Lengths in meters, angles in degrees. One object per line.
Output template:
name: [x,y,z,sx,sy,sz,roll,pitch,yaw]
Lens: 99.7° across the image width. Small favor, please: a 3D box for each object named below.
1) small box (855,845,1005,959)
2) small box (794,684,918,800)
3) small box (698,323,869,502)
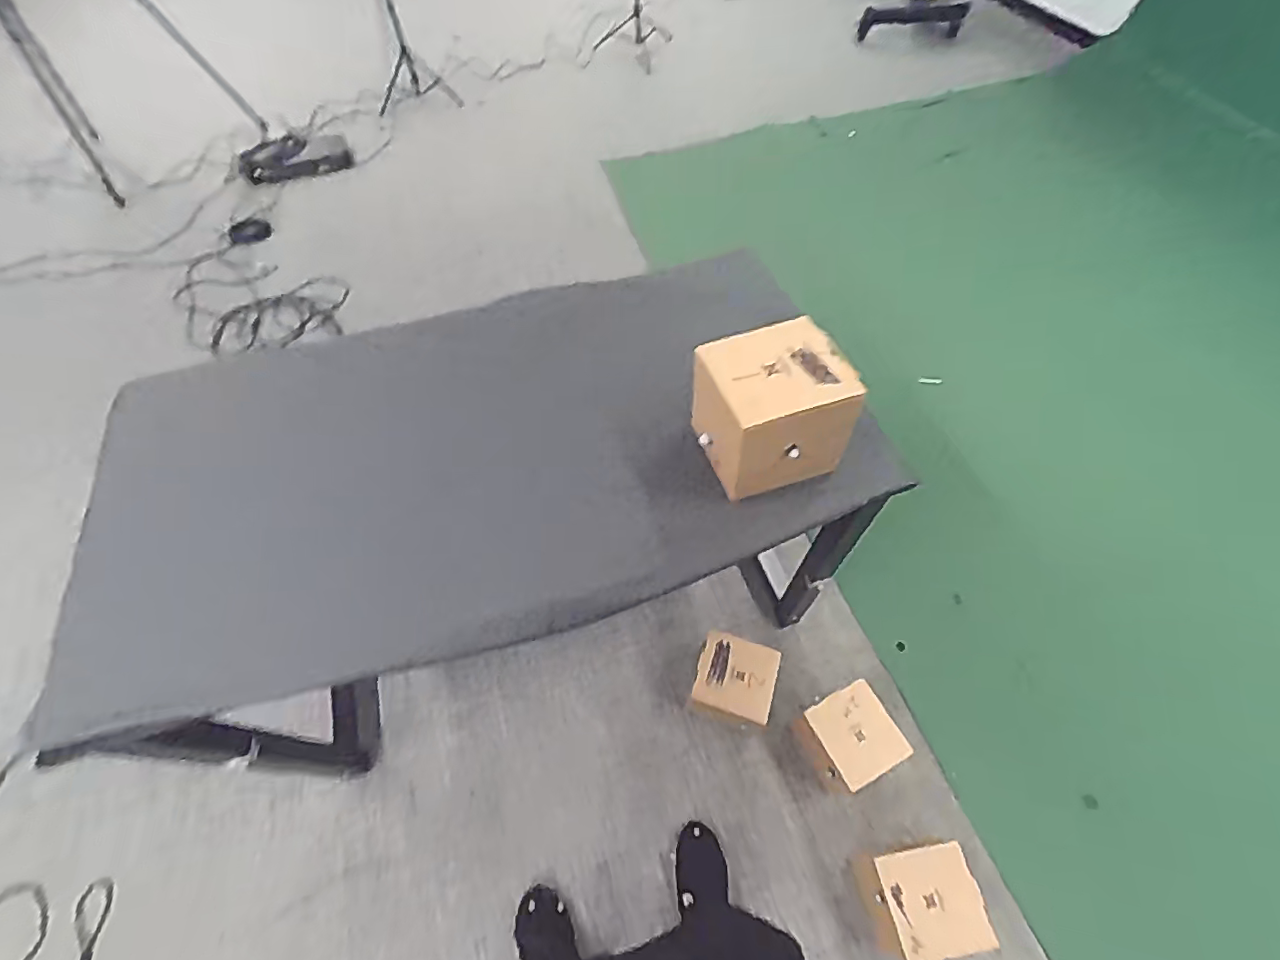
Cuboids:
small box: [0.554,0.831,1.060,0.179,0.176,0.168,-9,59,-3]
small box: [0.473,0.590,1.213,0.168,0.176,0.179,-23,60,-13]
small box: [0.192,-0.094,0.786,0.179,0.176,0.168,-17,55,-7]
